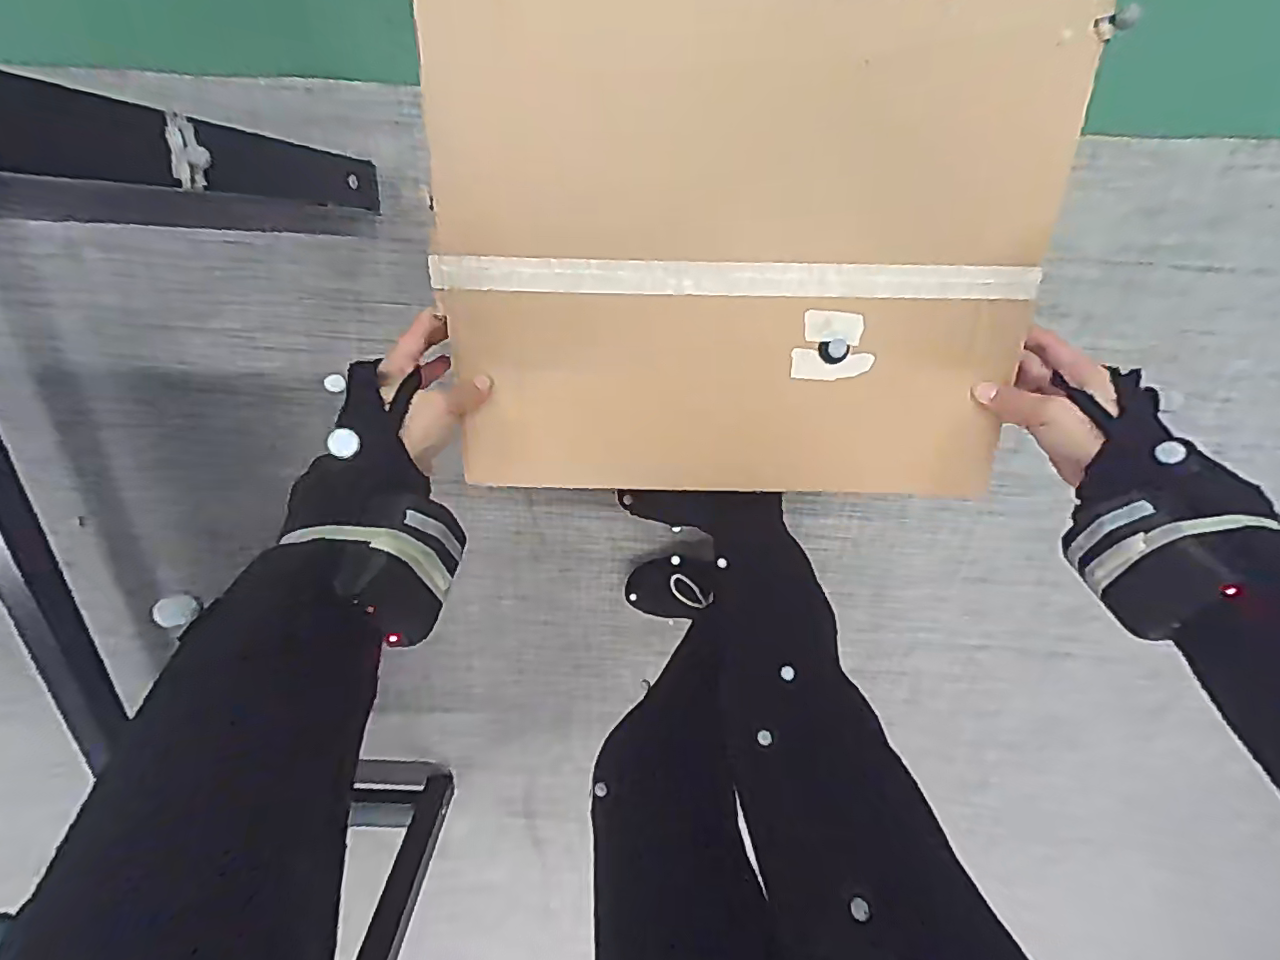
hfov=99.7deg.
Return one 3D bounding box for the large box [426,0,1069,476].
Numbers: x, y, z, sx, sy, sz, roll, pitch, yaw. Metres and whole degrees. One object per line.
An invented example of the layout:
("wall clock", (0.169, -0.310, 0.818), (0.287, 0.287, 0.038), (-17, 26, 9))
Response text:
("large box", (0.063, -0.202, 0.519), (0.408, 0.320, 0.320), (0, 112, -2))
